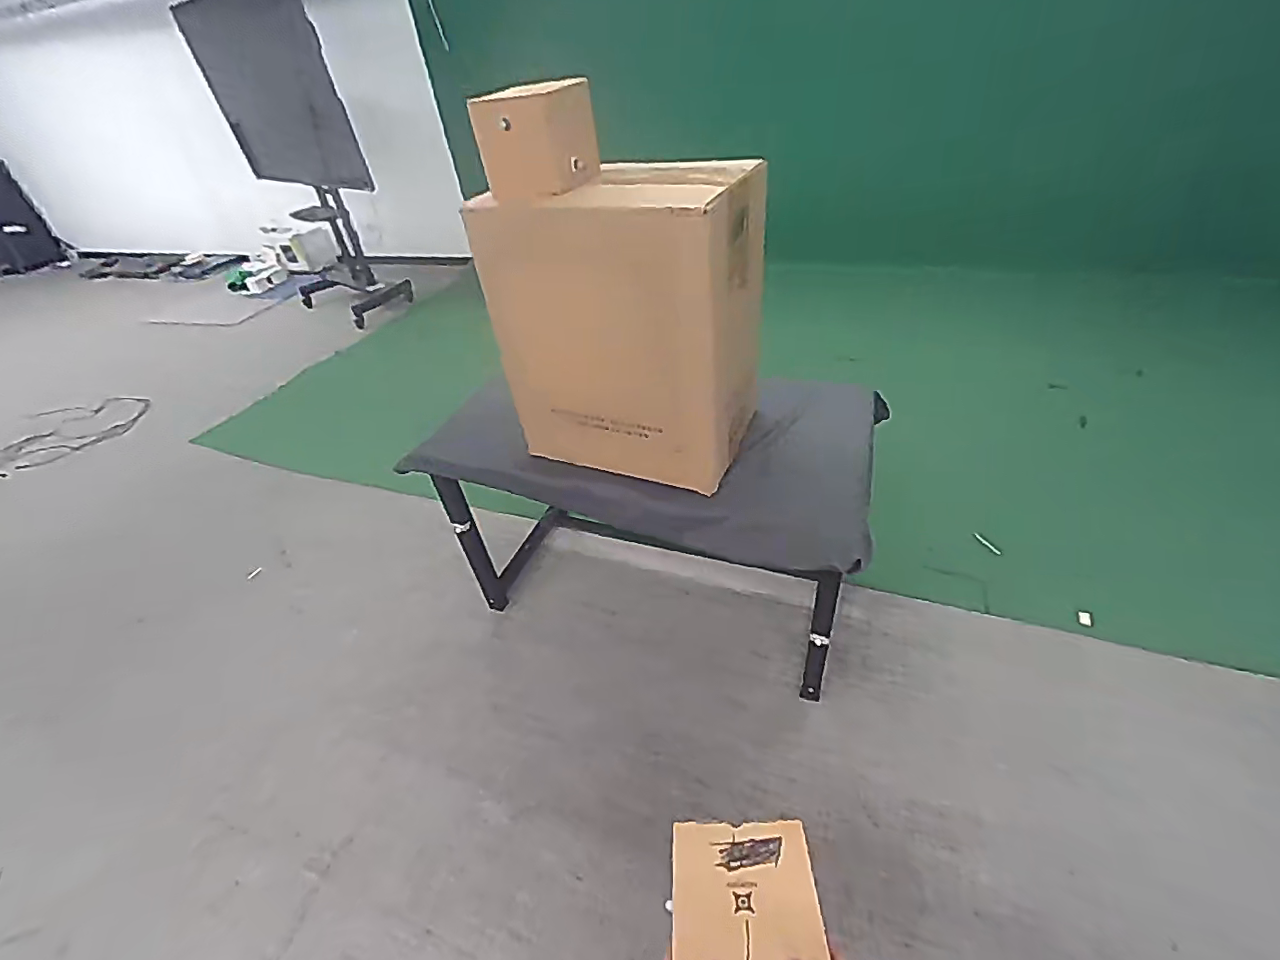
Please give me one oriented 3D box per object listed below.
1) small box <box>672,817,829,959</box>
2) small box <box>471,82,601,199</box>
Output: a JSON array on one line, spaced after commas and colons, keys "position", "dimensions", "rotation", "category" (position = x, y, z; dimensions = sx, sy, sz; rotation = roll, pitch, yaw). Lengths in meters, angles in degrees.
[{"position": [0.128, 0.547, 0.654], "dimensions": [0.168, 0.176, 0.179], "rotation": [-6, 24, 6], "category": "small box"}, {"position": [-0.199, -0.674, 1.080], "dimensions": [0.179, 0.176, 0.168], "rotation": [13, 47, 22], "category": "small box"}]
